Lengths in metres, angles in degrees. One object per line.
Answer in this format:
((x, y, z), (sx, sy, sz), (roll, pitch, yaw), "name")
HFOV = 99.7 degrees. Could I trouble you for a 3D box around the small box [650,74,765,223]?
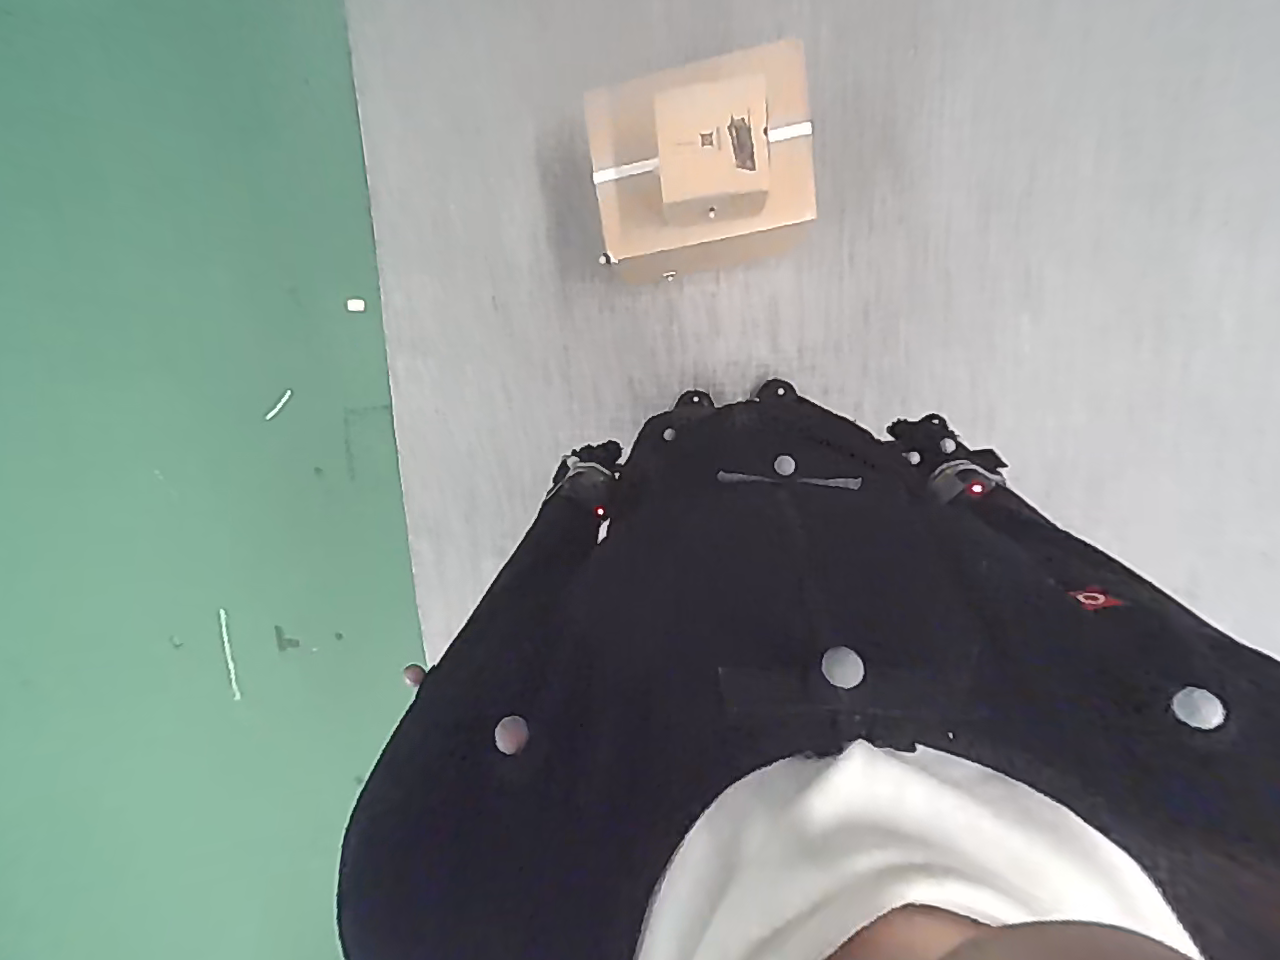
((0.116, -0.559, 0.936), (0.179, 0.176, 0.168), (-4, 101, 8), "small box")
